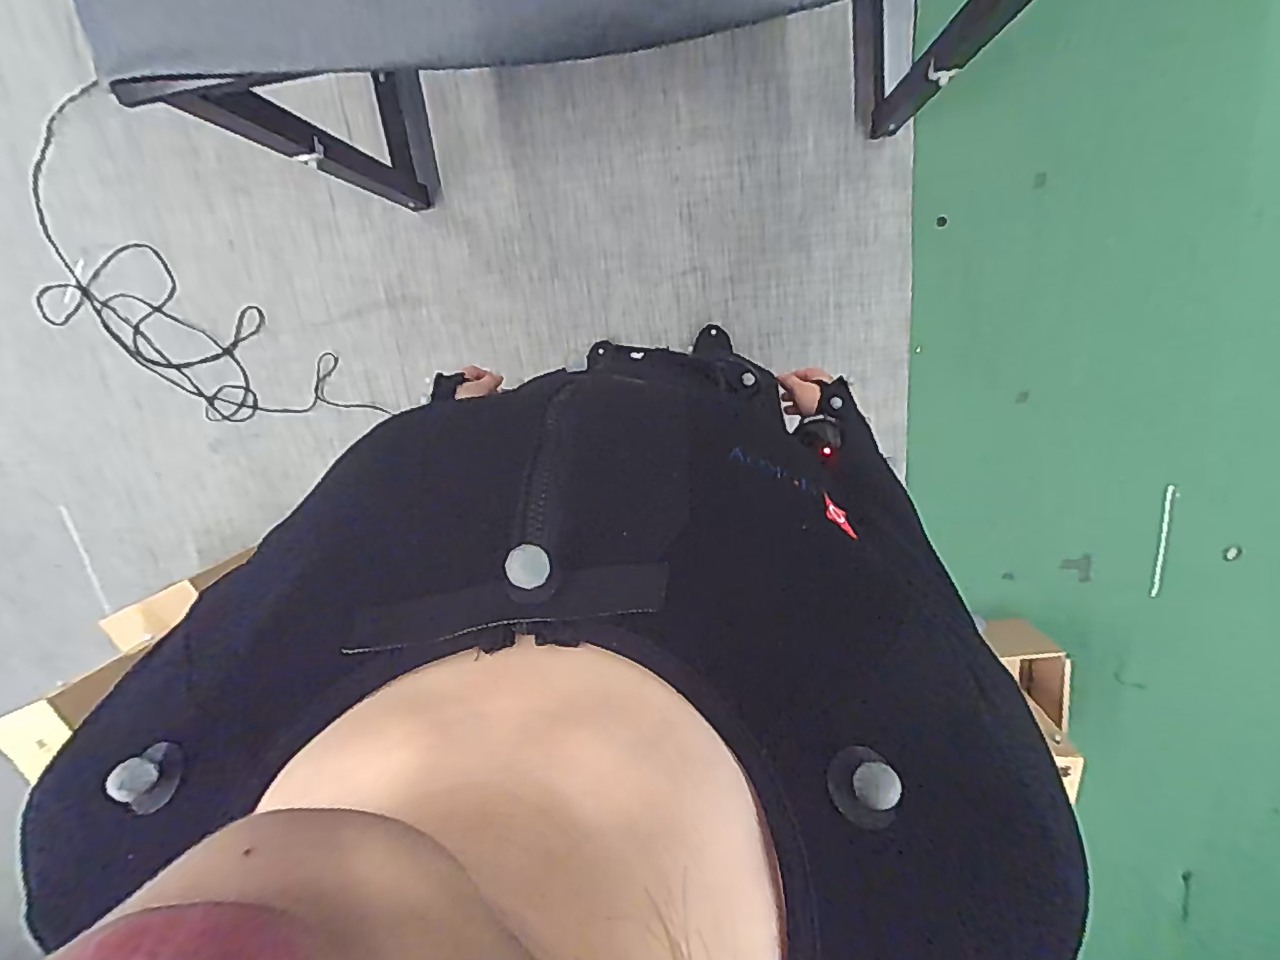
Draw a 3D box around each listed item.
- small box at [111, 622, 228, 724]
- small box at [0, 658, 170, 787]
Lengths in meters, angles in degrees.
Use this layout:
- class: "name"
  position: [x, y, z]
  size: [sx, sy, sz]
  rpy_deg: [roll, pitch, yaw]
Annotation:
- class: "small box"
  position: [-1.181, 0.484, 1.333]
  size: [0.168, 0.176, 0.179]
  rpy_deg: [-23, 102, 9]
- class: "small box"
  position: [-1.197, 0.514, 1.174]
  size: [0.168, 0.176, 0.179]
  rpy_deg: [-23, 103, 9]
